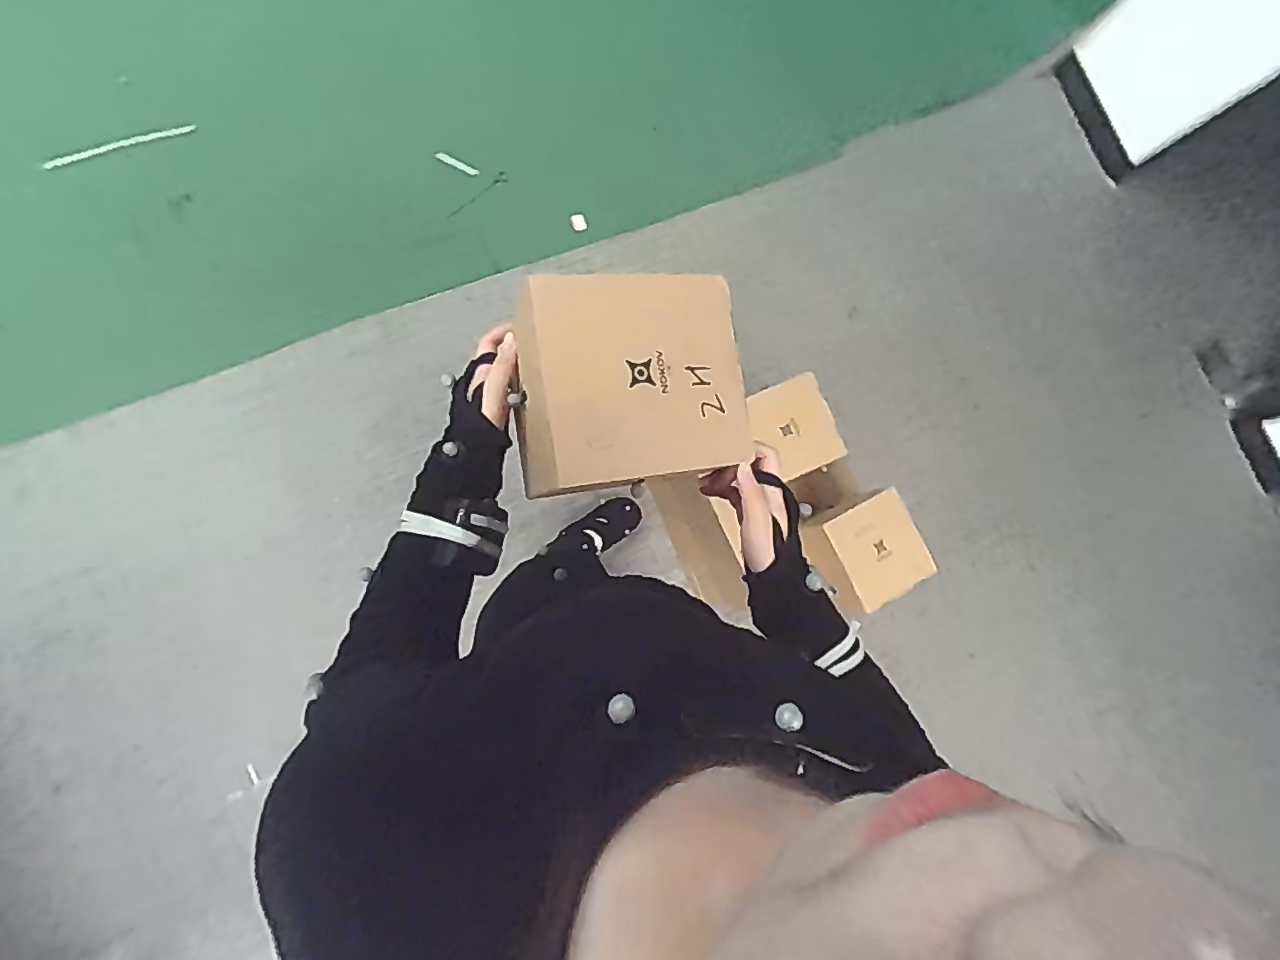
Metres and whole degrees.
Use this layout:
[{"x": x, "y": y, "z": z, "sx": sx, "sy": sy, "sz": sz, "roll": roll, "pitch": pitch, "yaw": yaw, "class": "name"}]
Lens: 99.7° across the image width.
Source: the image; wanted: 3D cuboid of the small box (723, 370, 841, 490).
[{"x": 0.241, "y": -0.086, "z": 1.035, "sx": 0.179, "sy": 0.176, "sz": 0.168, "roll": -23, "pitch": 90, "yaw": -11, "class": "small box"}]

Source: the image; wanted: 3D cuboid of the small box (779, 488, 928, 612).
[{"x": 0.401, "y": 0.132, "z": 1.041, "sx": 0.168, "sy": 0.176, "sz": 0.179, "roll": -24, "pitch": 87, "yaw": -13, "class": "small box"}]

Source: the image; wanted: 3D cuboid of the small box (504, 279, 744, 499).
[{"x": -0.028, "y": -0.075, "z": 0.512, "sx": 0.179, "sy": 0.176, "sz": 0.168, "roll": -8, "pitch": 89, "yaw": -22, "class": "small box"}]
